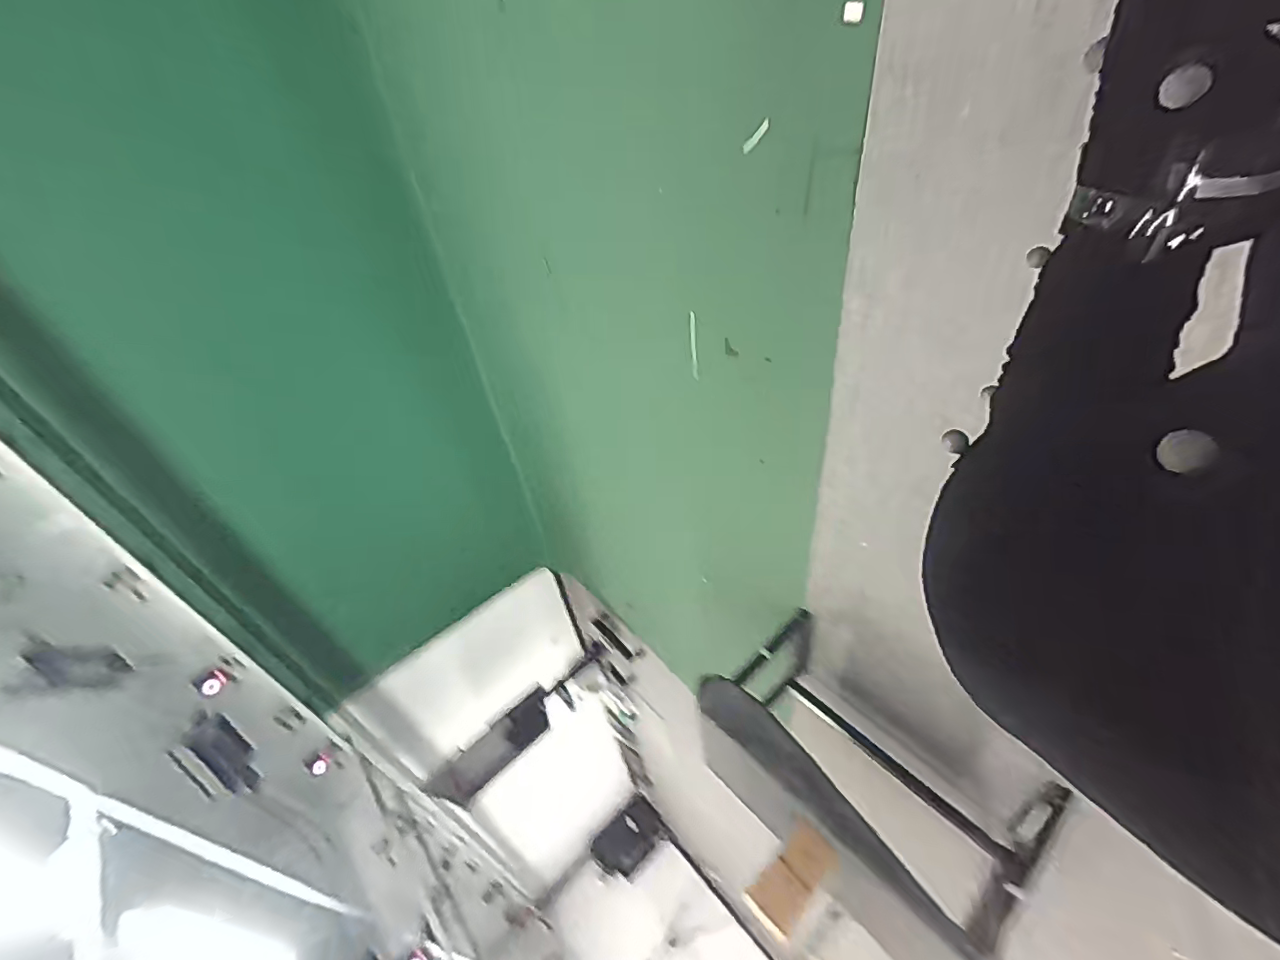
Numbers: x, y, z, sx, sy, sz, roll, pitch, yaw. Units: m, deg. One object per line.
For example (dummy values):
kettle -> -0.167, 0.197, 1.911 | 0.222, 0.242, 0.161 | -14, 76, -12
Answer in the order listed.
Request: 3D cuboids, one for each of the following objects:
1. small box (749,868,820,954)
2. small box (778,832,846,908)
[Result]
small box -> 0.515, 1.535, 1.938 | 0.179, 0.176, 0.168 | 36, 148, 37
small box -> 0.636, 1.455, 2.013 | 0.179, 0.176, 0.168 | 33, 146, 42
